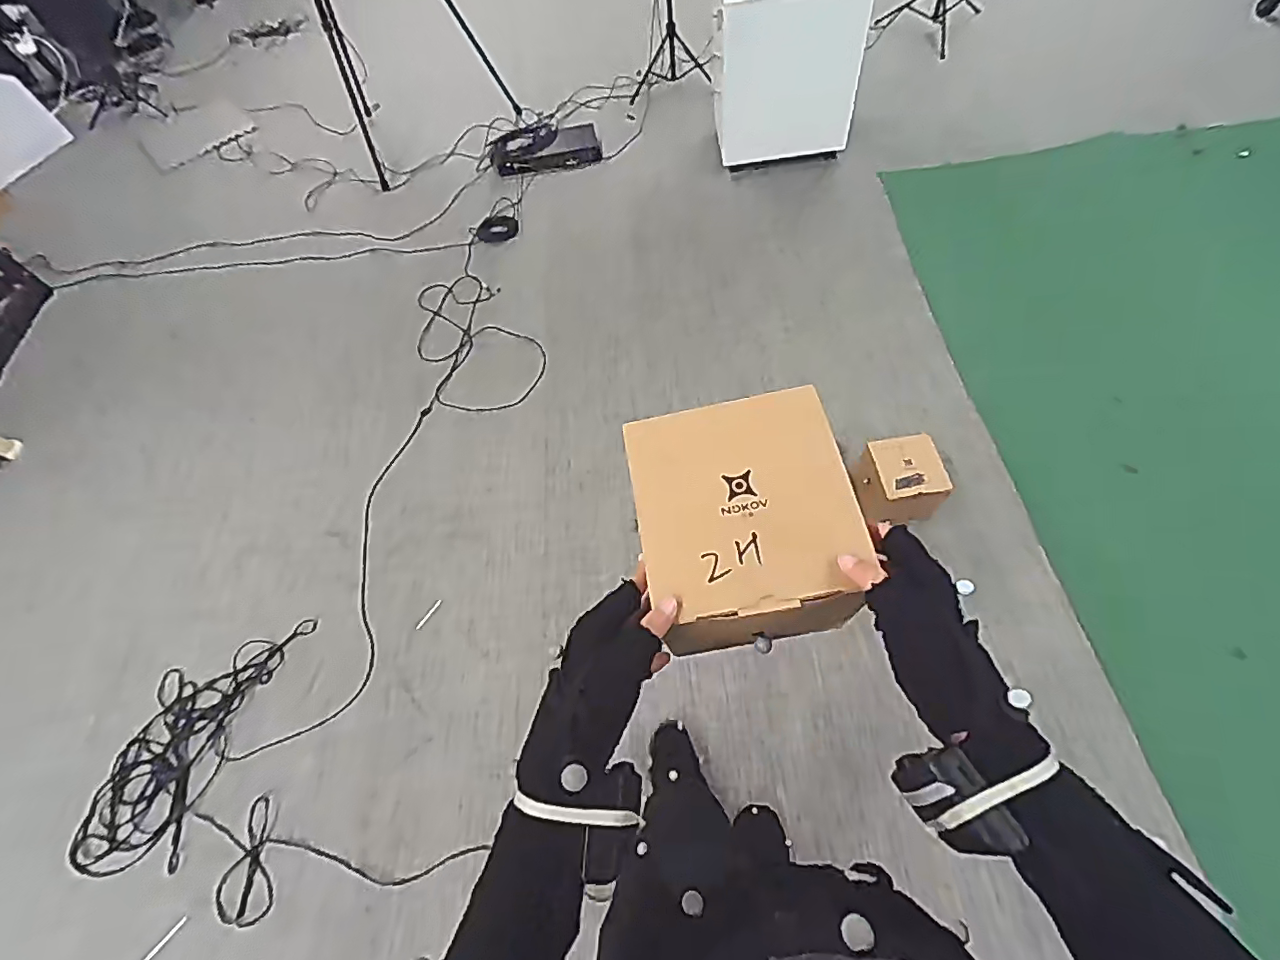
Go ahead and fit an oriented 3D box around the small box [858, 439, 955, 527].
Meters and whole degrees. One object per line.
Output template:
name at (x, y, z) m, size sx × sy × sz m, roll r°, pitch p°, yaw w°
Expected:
small box at (0.708, 0.017, 1.456) m, size 0.168 × 0.176 × 0.179 m, roll -8°, pitch 59°, yaw 4°
